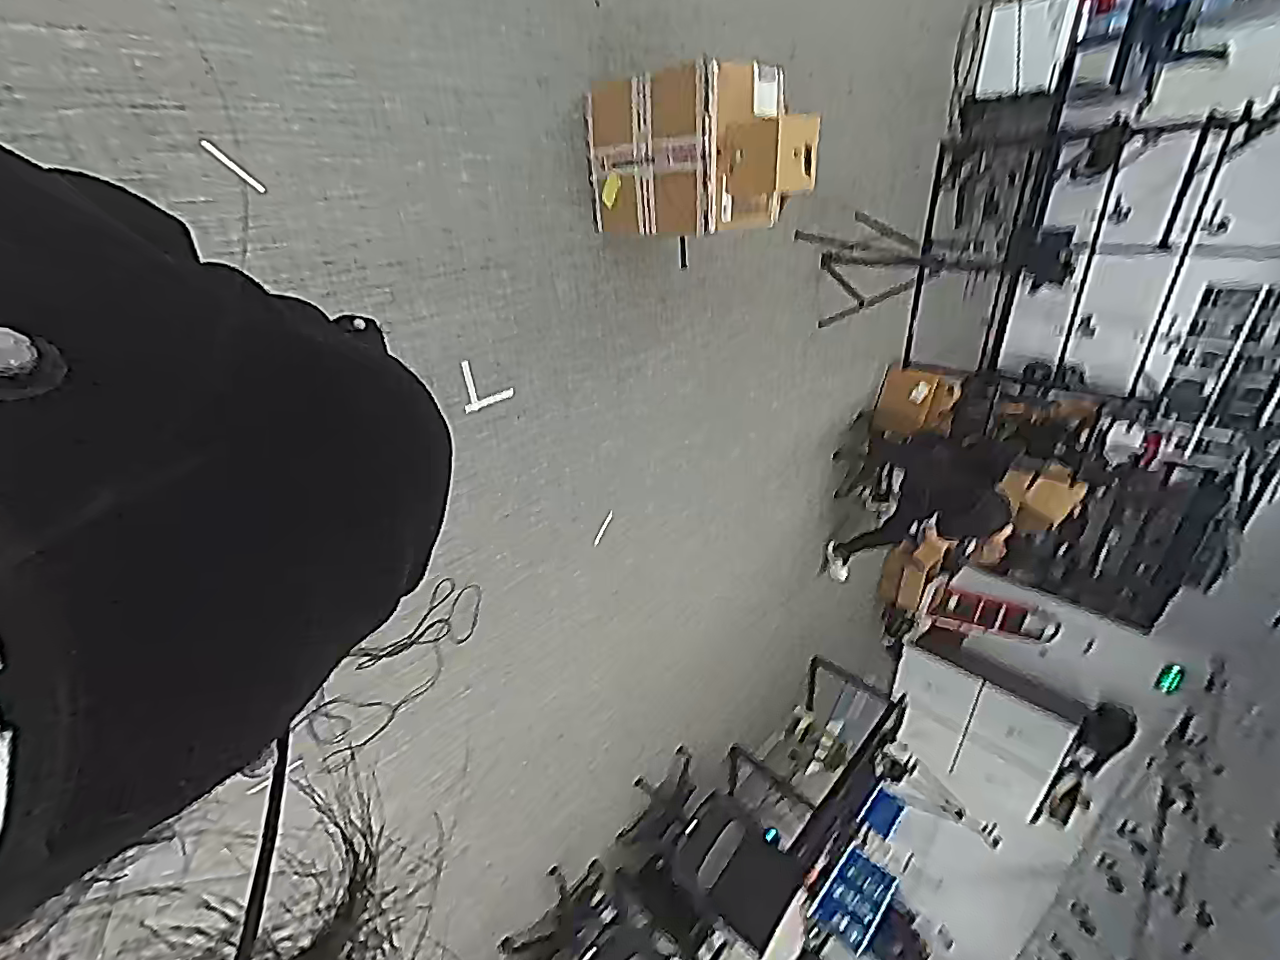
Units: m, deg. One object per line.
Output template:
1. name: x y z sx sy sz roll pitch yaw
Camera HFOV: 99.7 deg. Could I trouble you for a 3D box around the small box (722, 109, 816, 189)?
1. small box: 0.337 -0.868 1.425 0.179 0.176 0.168 -26 125 -33
